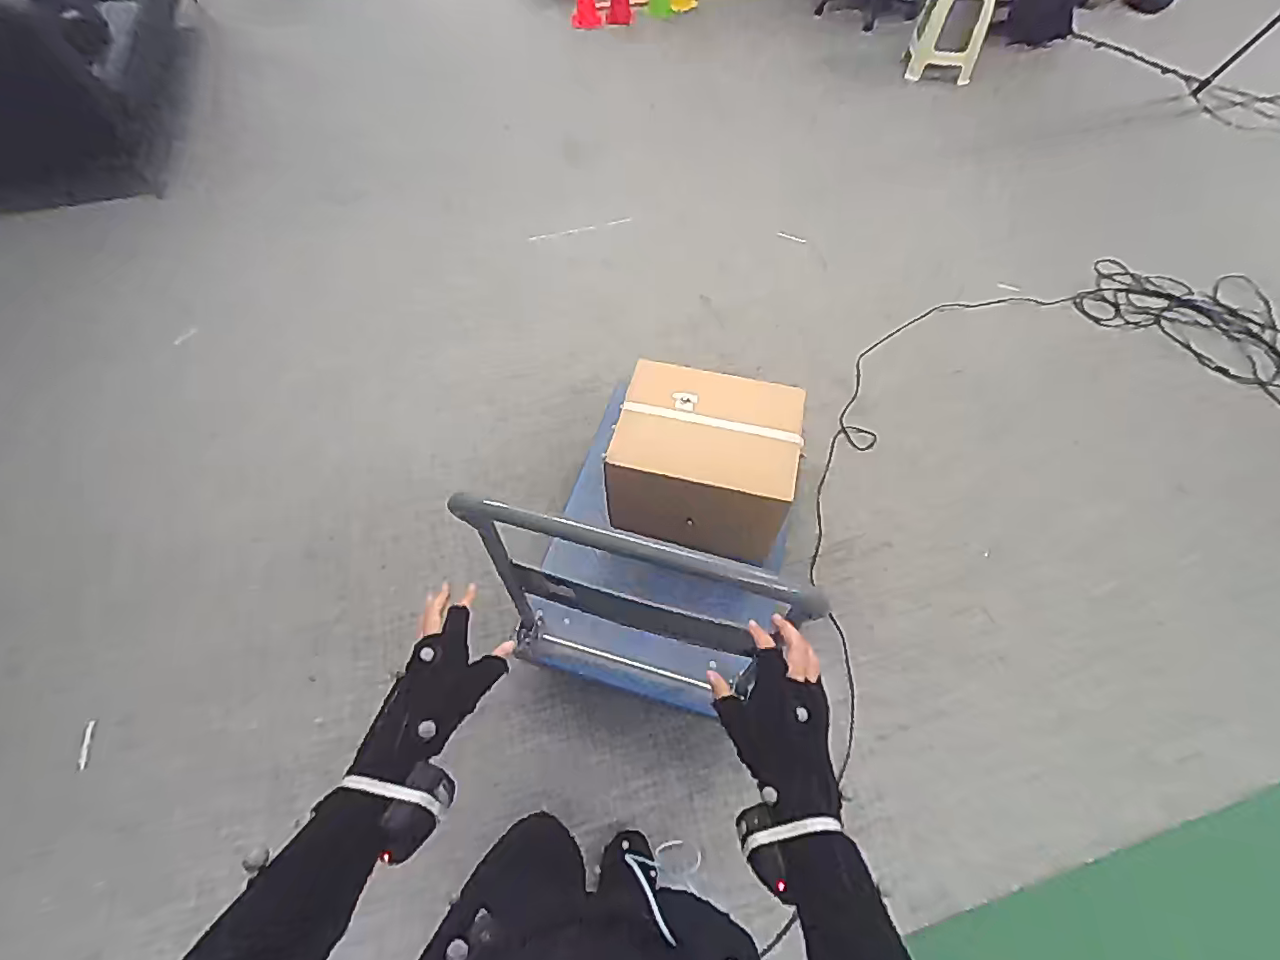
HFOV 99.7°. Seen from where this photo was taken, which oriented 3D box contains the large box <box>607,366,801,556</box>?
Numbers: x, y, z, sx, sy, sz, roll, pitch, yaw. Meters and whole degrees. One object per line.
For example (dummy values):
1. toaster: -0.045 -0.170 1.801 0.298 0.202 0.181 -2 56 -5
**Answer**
1. large box: 0.158 -0.040 1.339 0.408 0.320 0.320 11 58 8
